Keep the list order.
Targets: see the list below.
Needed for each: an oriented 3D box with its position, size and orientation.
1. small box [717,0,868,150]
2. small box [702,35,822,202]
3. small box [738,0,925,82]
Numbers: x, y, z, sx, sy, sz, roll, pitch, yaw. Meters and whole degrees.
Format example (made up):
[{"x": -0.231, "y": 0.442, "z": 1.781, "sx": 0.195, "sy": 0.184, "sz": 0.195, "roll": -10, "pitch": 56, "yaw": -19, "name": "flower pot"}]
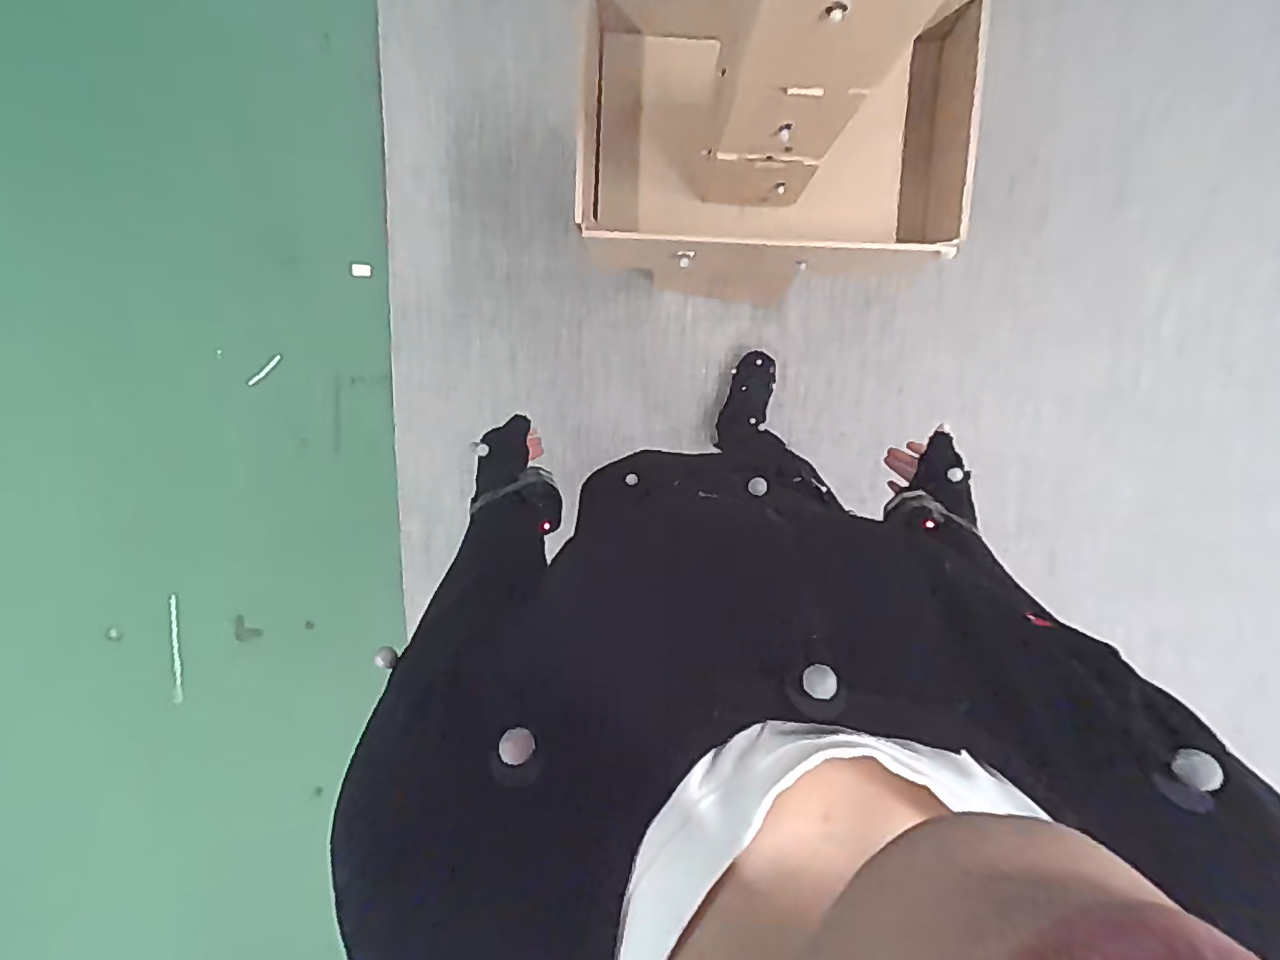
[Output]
[{"x": 0.200, "y": -0.572, "z": 0.727, "sx": 0.168, "sy": 0.176, "sz": 0.179, "roll": 2, "pitch": 97, "yaw": -1, "name": "small box"}, {"x": 0.197, "y": -0.581, "z": 0.890, "sx": 0.168, "sy": 0.176, "sz": 0.179, "roll": 1, "pitch": 94, "yaw": -1, "name": "small box"}, {"x": 0.203, "y": -0.551, "z": 0.563, "sx": 0.179, "sy": 0.176, "sz": 0.168, "roll": 0, "pitch": 96, "yaw": -2, "name": "small box"}]
